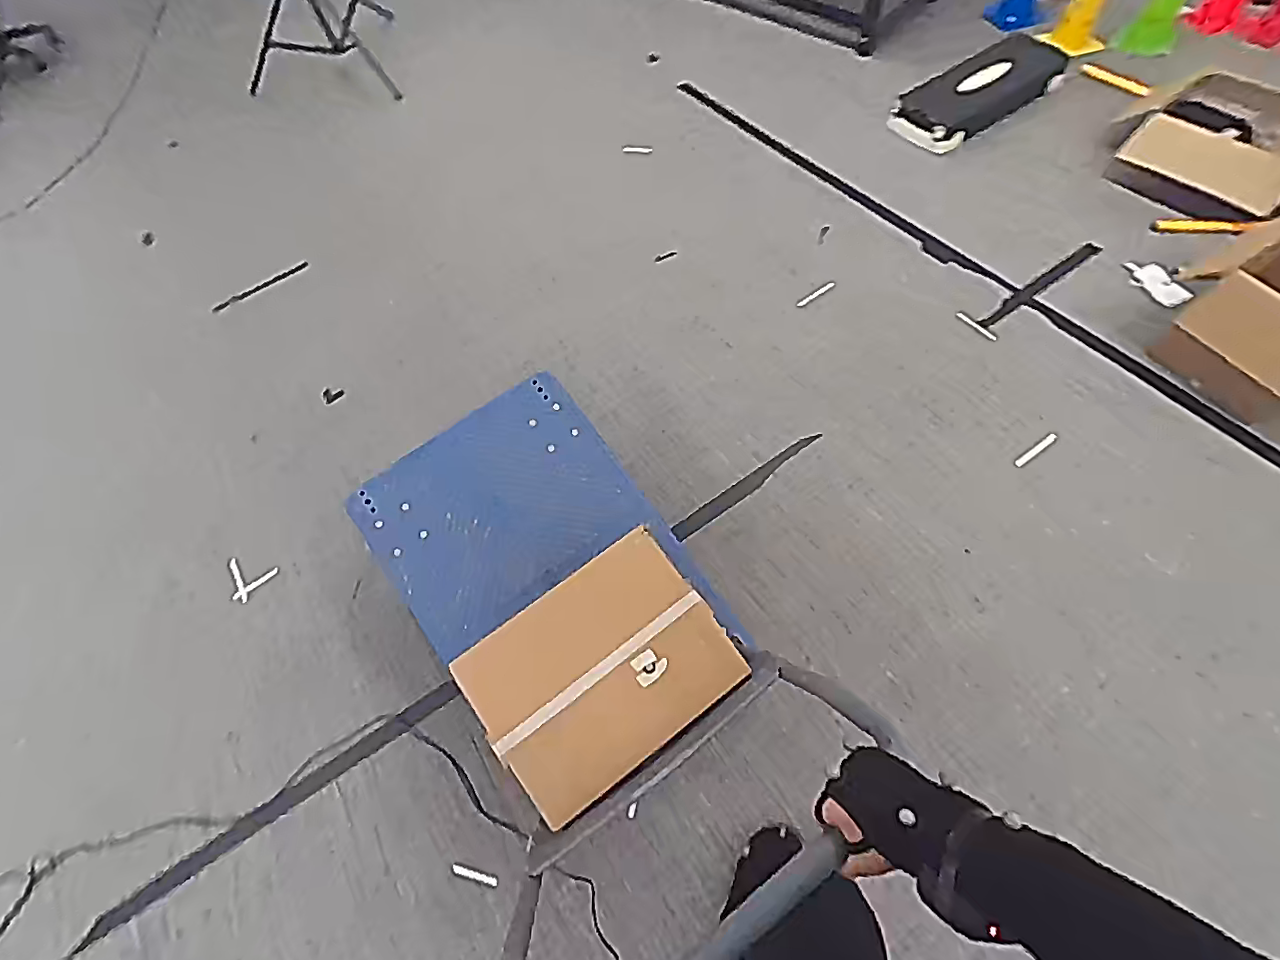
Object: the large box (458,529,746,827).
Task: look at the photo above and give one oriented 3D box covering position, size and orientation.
[{"bbox_3d":[-0.068,0.359,1.059,0.408,0.320,0.320,-36,80,-11],"label":"large box"}]
